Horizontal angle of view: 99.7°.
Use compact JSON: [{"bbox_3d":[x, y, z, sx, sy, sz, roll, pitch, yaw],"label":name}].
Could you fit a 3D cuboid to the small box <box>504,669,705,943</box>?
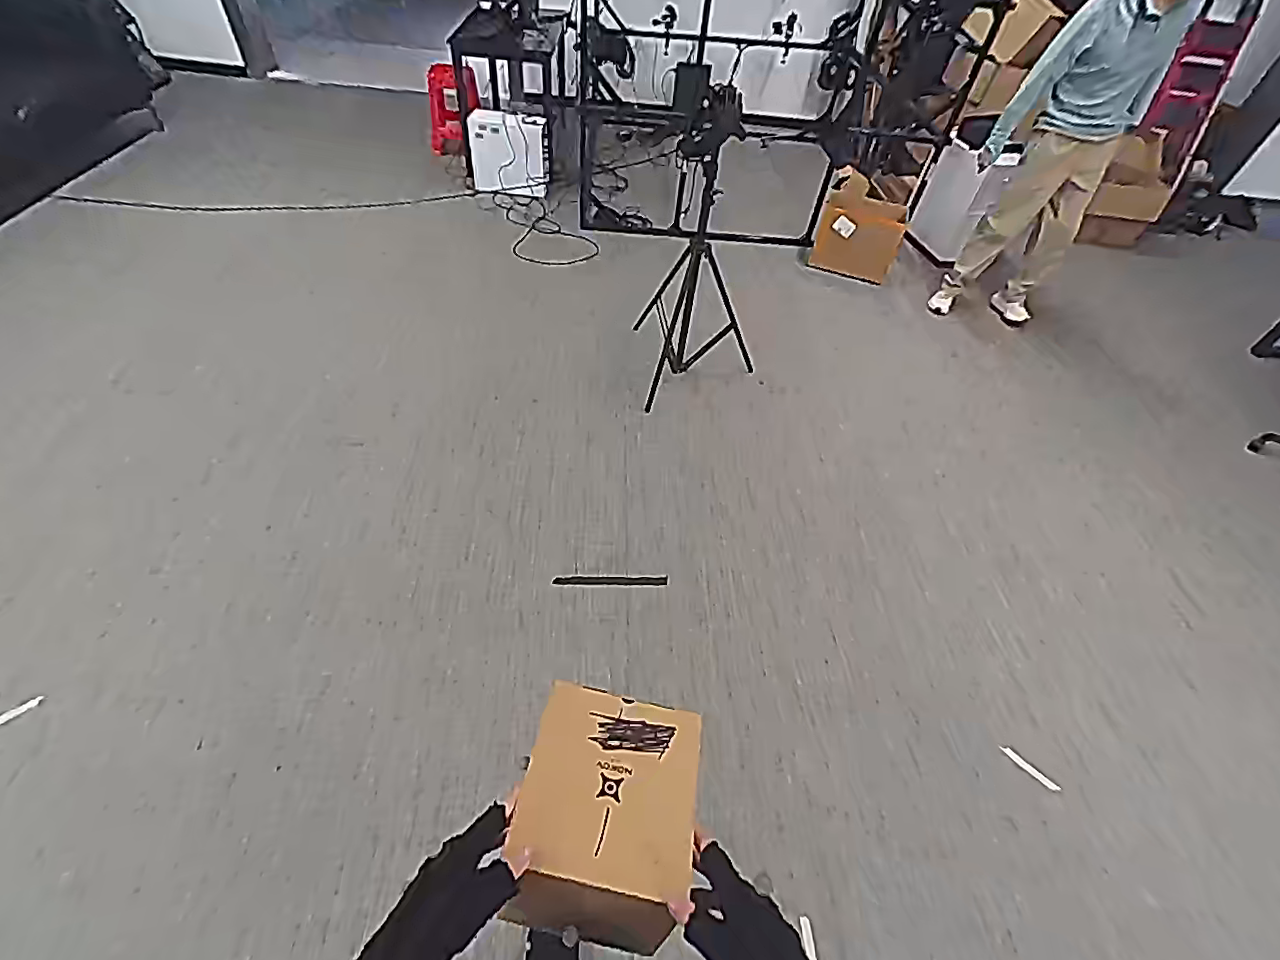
[{"bbox_3d":[-0.036,0.334,0.561,0.168,0.176,0.179,13,38,2],"label":"small box"}]
